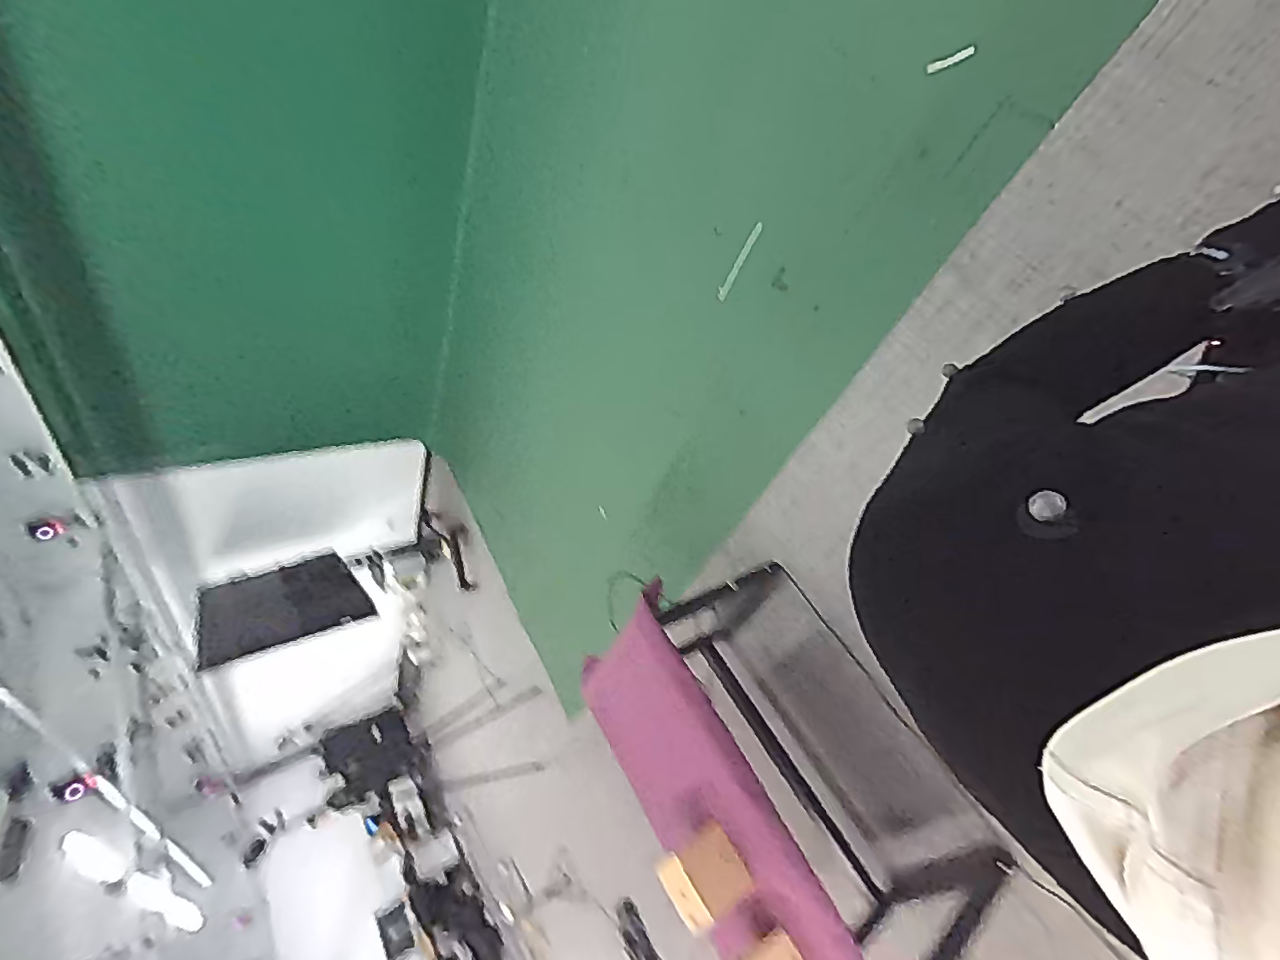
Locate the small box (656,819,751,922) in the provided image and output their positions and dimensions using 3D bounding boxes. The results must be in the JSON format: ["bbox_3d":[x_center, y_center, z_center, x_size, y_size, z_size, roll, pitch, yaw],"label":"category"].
[{"bbox_3d":[0.182,1.113,1.556,0.179,0.176,0.168,52,137,30],"label":"small box"}]

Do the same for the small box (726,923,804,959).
[{"bbox_3d":[0.333,1.308,1.415,0.168,0.176,0.179,53,138,30],"label":"small box"}]
